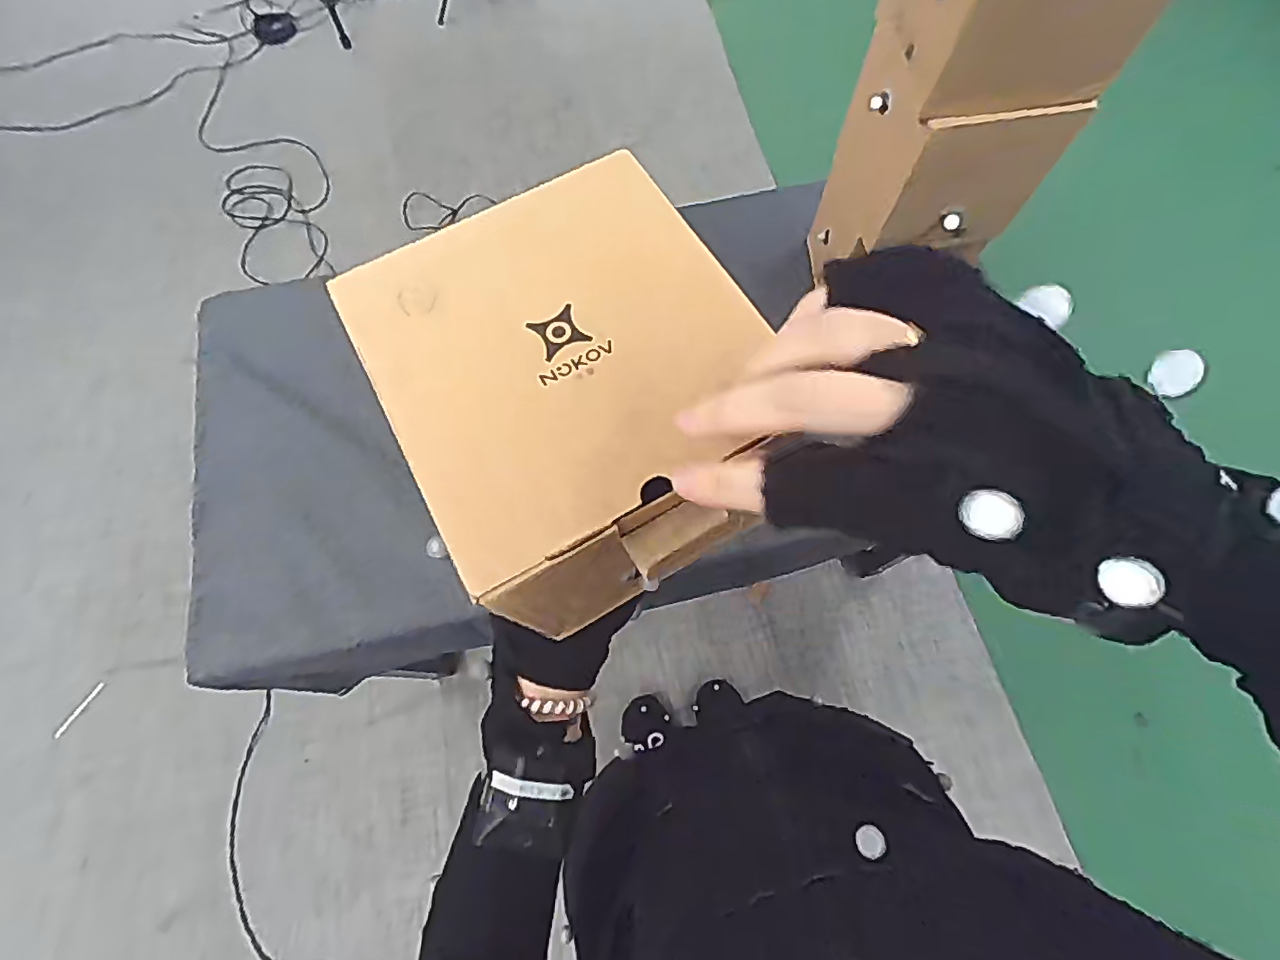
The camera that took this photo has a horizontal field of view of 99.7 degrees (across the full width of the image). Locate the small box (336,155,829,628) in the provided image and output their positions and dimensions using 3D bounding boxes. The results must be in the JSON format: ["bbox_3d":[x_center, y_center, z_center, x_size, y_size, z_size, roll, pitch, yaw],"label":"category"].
[{"bbox_3d":[-0.031,-0.034,0.314,0.168,0.176,0.179,-29,72,-9],"label":"small box"}]

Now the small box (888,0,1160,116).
[{"bbox_3d":[0.338,-0.451,0.468,0.179,0.176,0.168,-5,69,0],"label":"small box"}]

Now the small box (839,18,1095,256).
[{"bbox_3d":[0.347,-0.390,0.619,0.168,0.176,0.179,-7,69,0],"label":"small box"}]

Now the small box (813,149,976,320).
[{"bbox_3d":[0.358,-0.348,0.778,0.179,0.176,0.168,-1,69,1],"label":"small box"}]
